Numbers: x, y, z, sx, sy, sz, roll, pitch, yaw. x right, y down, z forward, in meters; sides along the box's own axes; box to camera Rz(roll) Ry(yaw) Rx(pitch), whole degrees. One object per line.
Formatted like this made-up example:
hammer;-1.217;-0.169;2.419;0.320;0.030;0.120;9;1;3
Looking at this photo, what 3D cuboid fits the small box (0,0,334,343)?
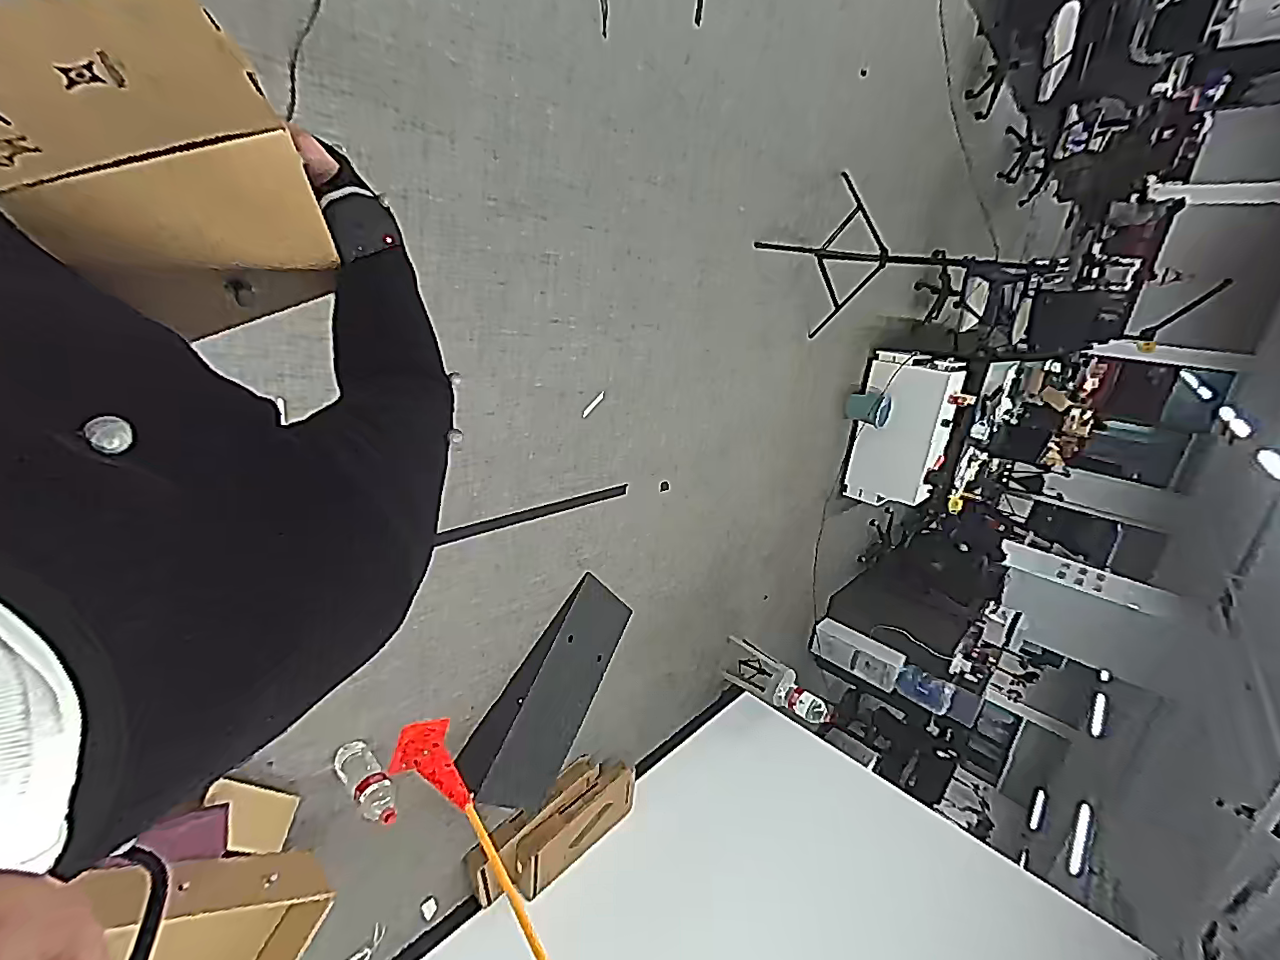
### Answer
small box;-0.390;-0.251;0.459;0.179;0.168;0.176;-32;168;-23
